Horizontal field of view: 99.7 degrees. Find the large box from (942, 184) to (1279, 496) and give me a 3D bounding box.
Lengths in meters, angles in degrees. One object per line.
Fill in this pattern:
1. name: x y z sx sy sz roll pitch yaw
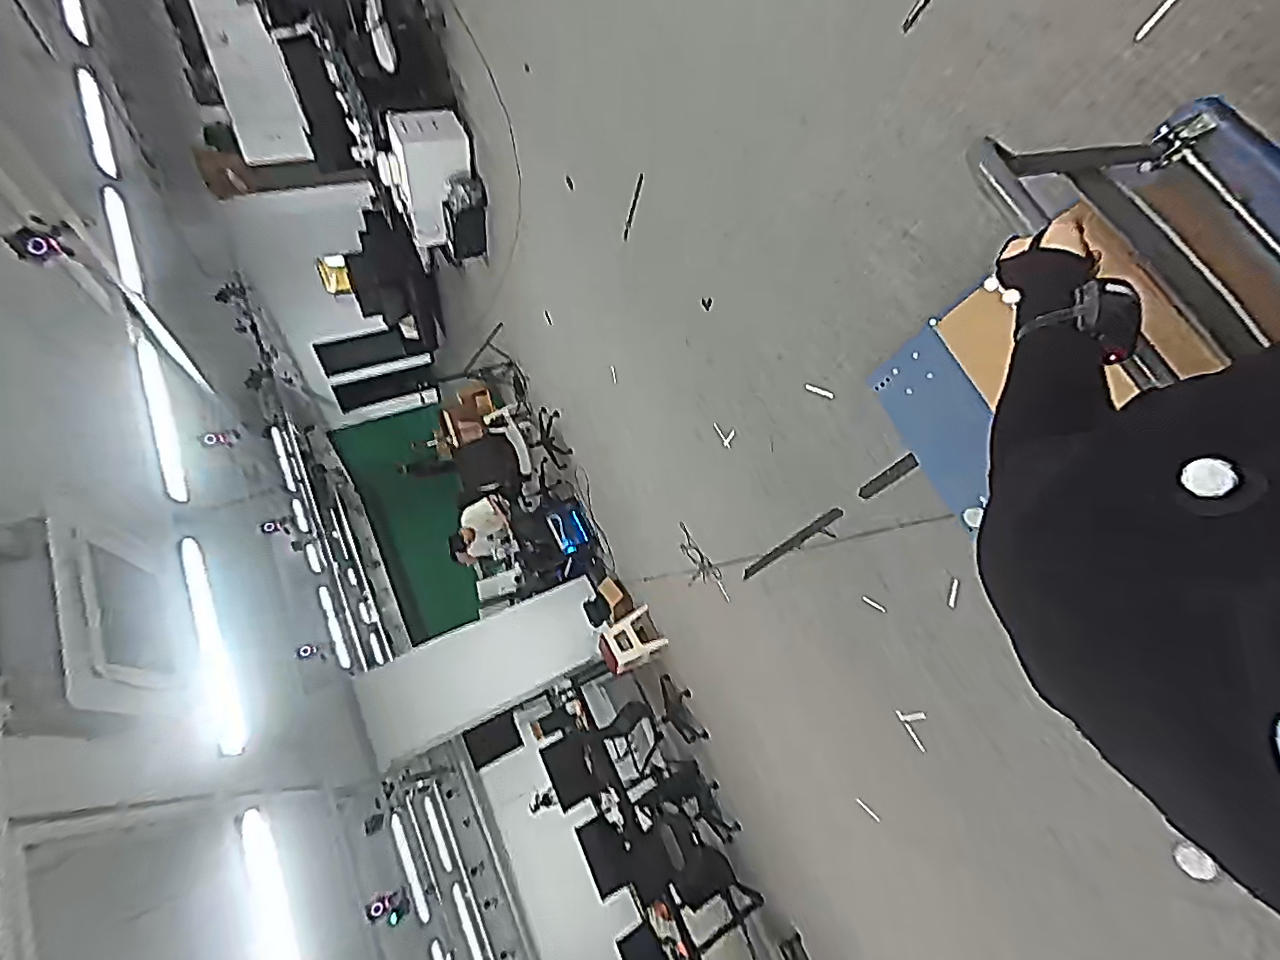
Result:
1. large box: 0.862 -0.243 0.965 0.408 0.320 0.320 64 156 14
